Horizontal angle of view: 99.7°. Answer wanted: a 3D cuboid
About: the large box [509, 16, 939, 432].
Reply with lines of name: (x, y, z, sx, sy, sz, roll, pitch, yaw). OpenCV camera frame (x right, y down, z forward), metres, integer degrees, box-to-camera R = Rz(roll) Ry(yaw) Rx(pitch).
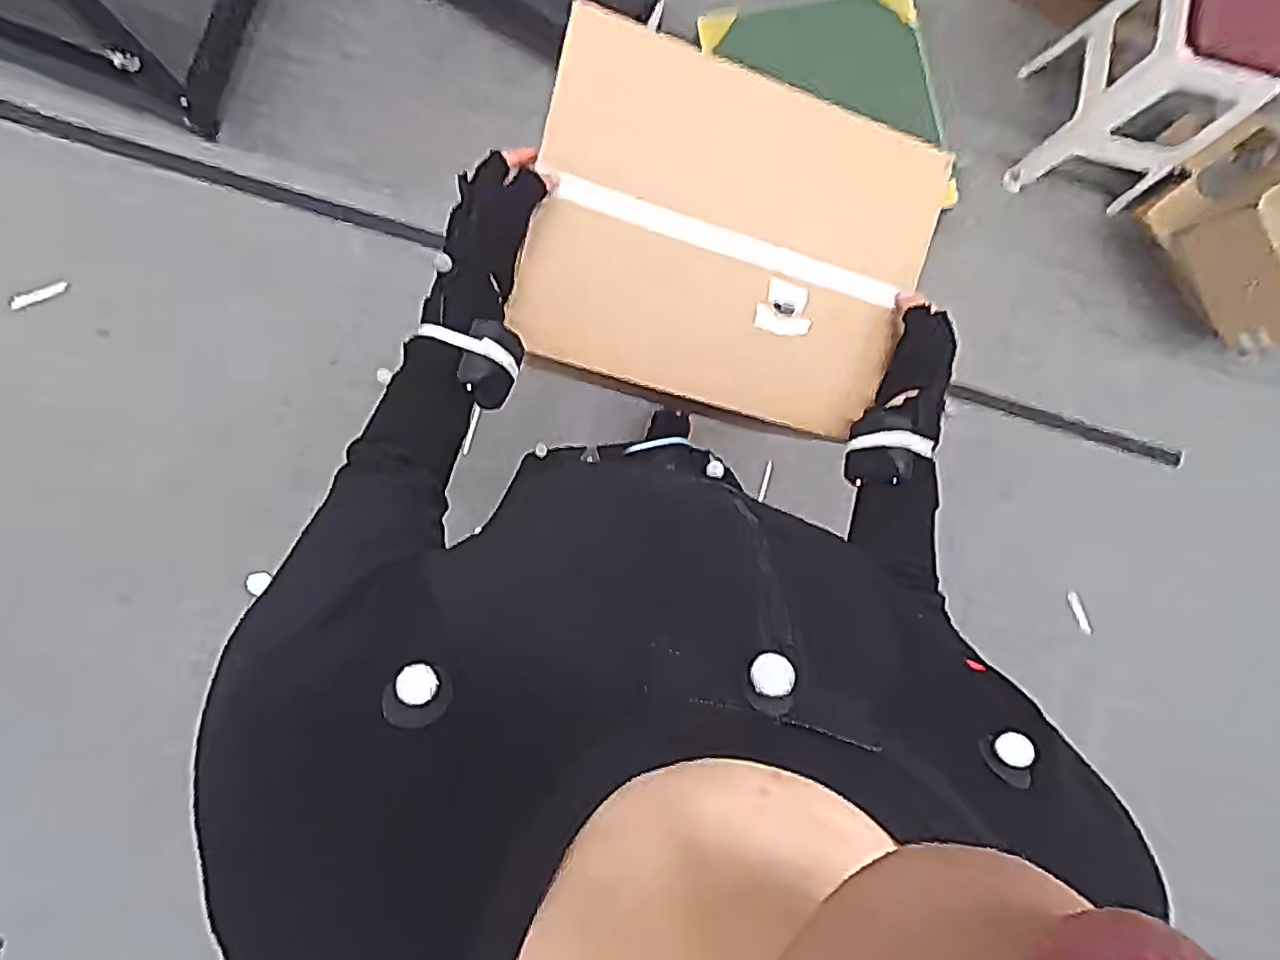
large box: (0.069, -0.265, 0.699, 0.408, 0.320, 0.320, 14, 97, -11)
